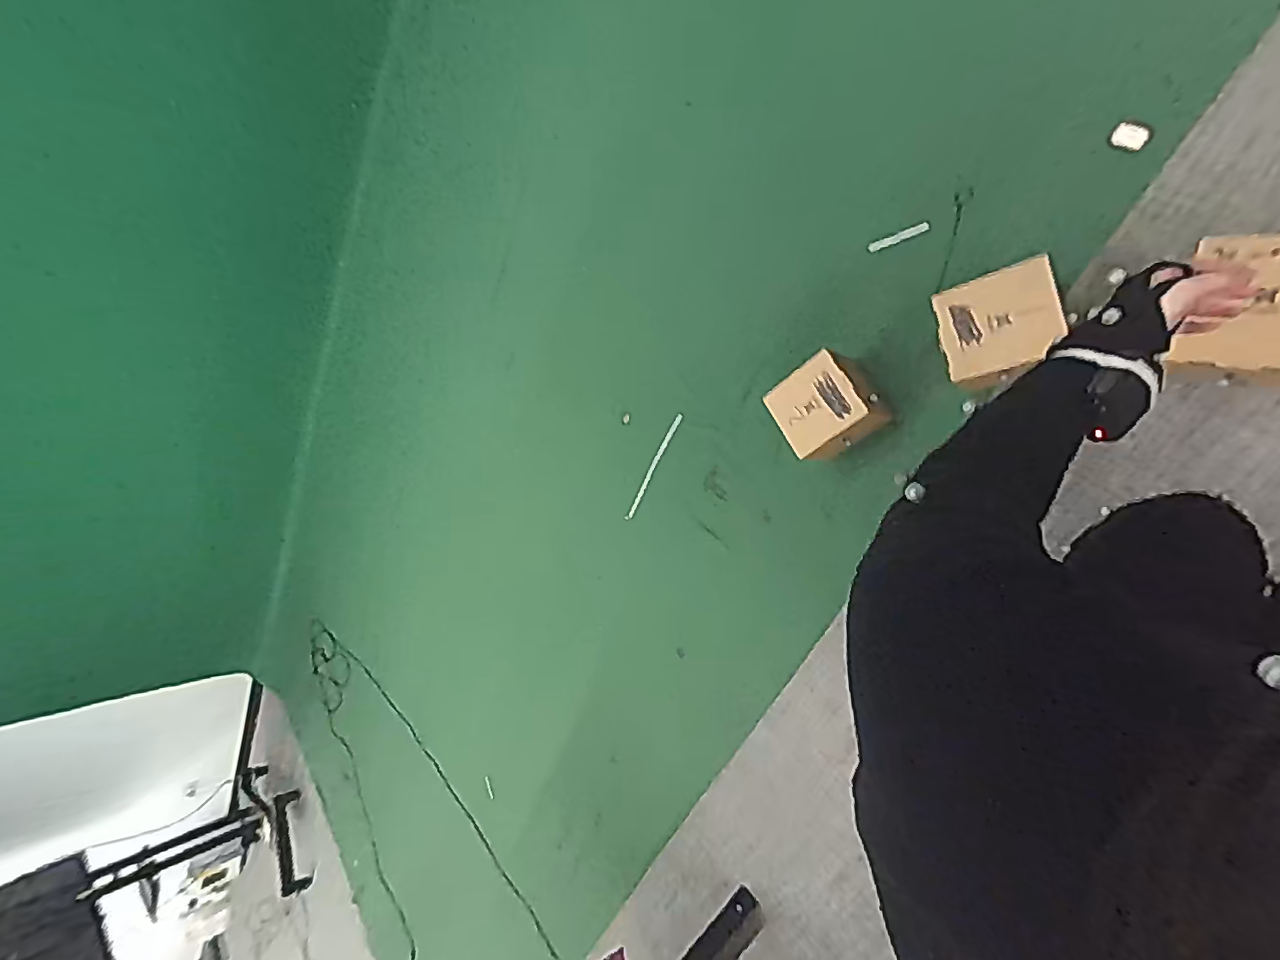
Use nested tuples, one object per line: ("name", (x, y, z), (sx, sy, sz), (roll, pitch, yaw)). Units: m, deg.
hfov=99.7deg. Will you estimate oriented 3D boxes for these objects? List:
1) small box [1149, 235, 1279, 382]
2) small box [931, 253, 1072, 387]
("small box", (0.890, -0.247, 0.798), (0.168, 0.176, 0.179), (20, 104, 39))
("small box", (0.663, -0.278, 0.991), (0.179, 0.176, 0.168), (-15, 81, 39))
